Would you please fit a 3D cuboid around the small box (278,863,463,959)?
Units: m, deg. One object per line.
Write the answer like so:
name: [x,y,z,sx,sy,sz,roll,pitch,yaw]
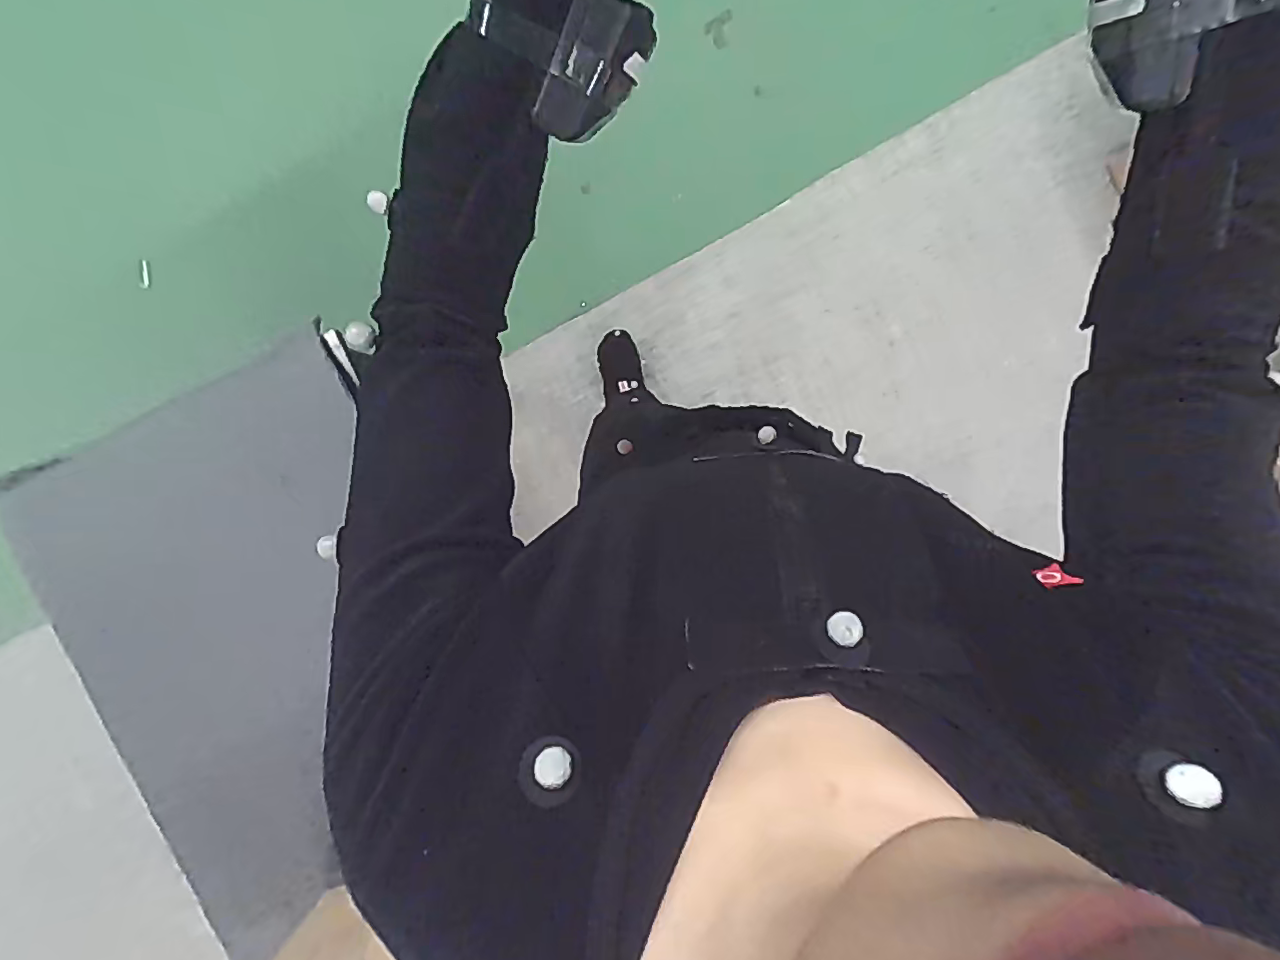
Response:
small box: [-0.366,0.674,0.728,0.168,0.176,0.179,-23,92,4]
